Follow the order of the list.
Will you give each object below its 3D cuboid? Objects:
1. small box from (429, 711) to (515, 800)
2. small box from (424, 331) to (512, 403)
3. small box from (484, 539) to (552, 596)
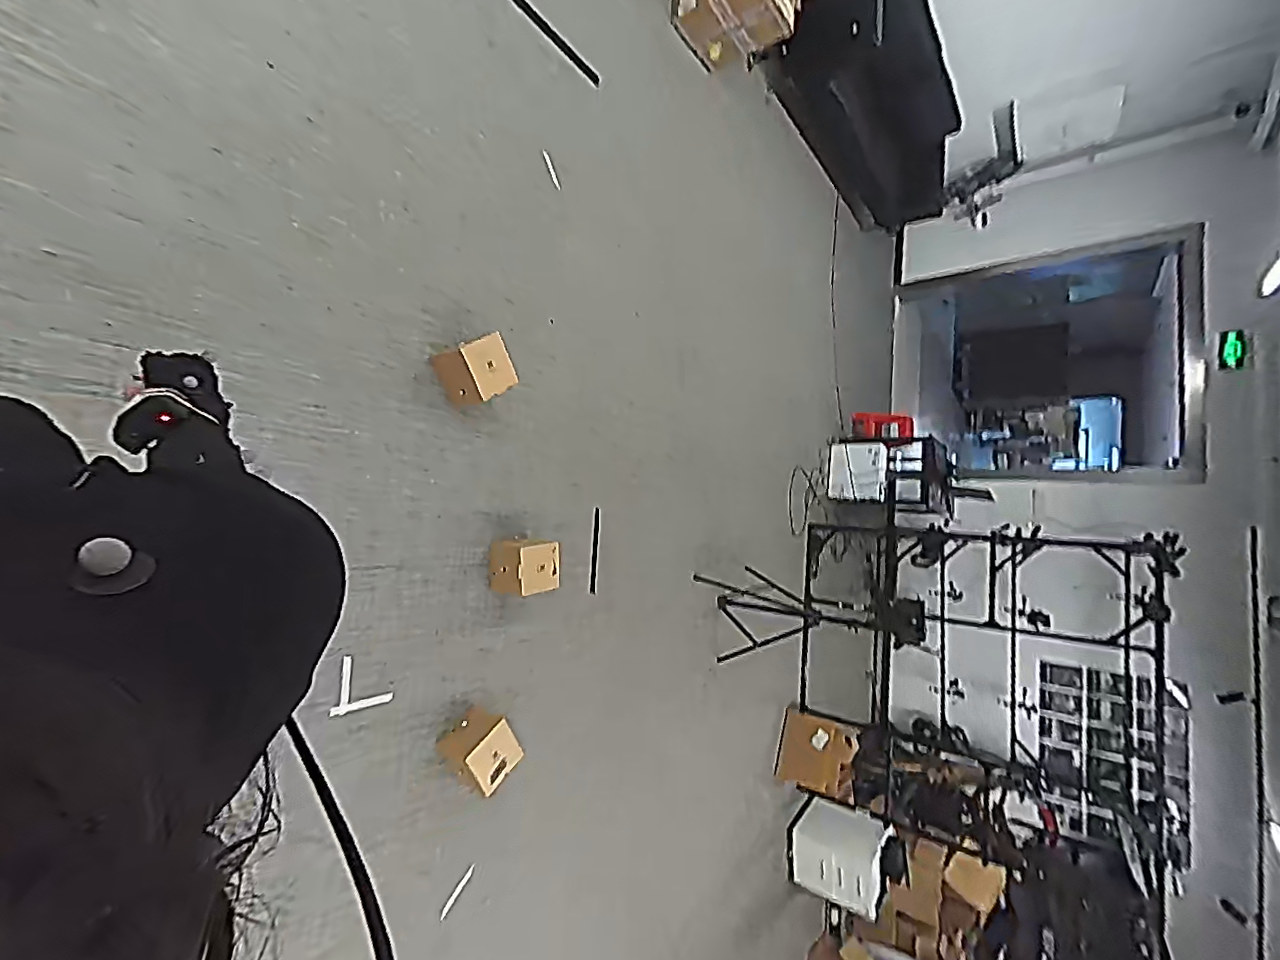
[{"bbox_3d":[-0.543,0.879,1.745,0.168,0.176,0.179,-41,120,-45],"label":"small box"},{"bbox_3d":[-0.548,-0.355,1.725,0.168,0.176,0.179,-45,123,-44],"label":"small box"},{"bbox_3d":[-0.428,0.301,1.888,0.179,0.176,0.168,-1,92,-52],"label":"small box"}]
